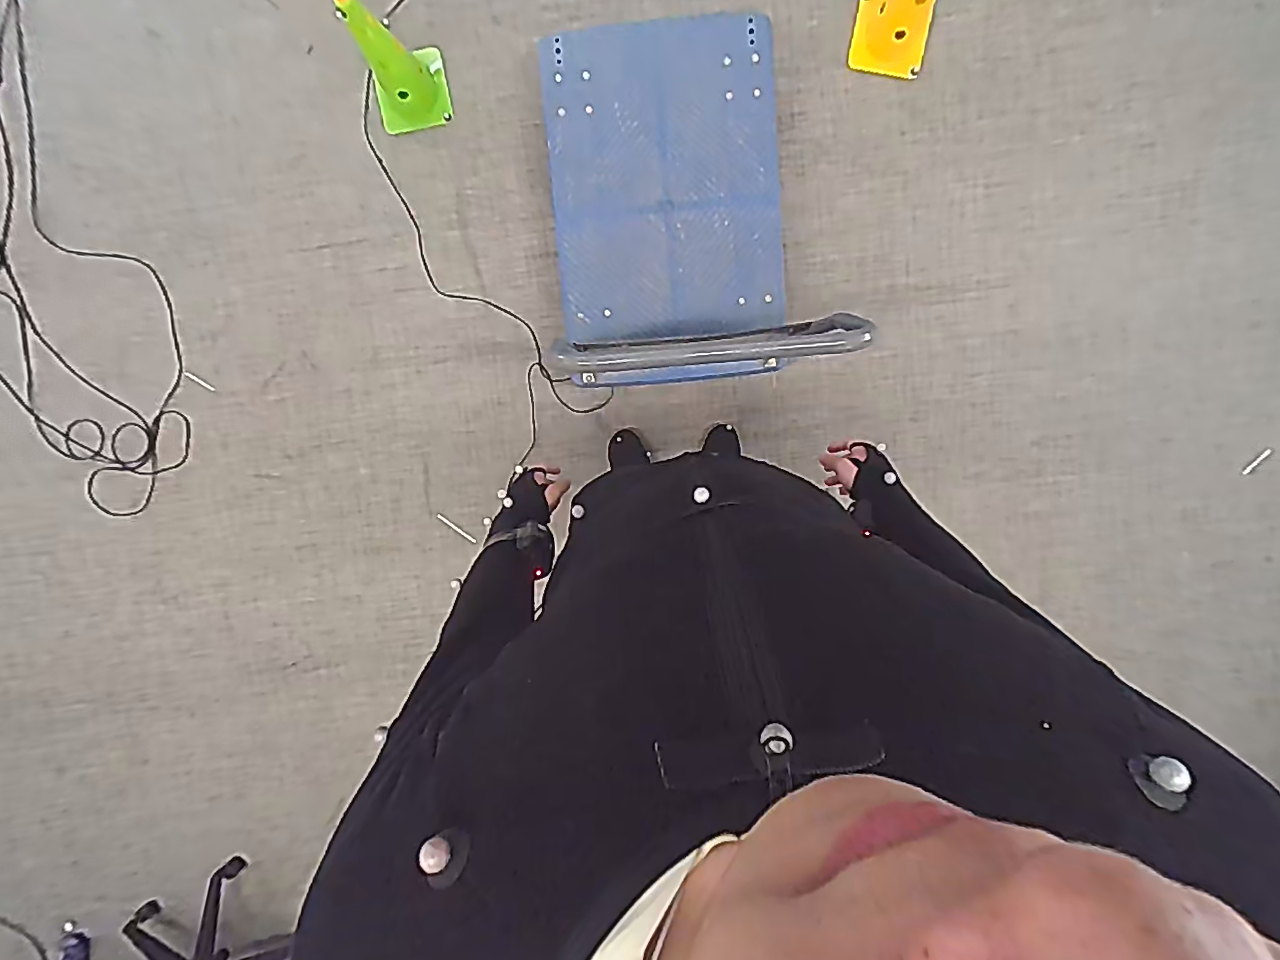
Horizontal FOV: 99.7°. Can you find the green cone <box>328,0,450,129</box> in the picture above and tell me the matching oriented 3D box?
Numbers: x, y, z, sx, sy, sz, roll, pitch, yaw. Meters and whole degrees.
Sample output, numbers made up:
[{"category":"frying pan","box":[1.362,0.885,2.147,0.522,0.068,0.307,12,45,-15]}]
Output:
[{"category":"green cone","box":[-0.646,-1.074,1.326,0.202,0.368,0.200,-10,96,4]}]
